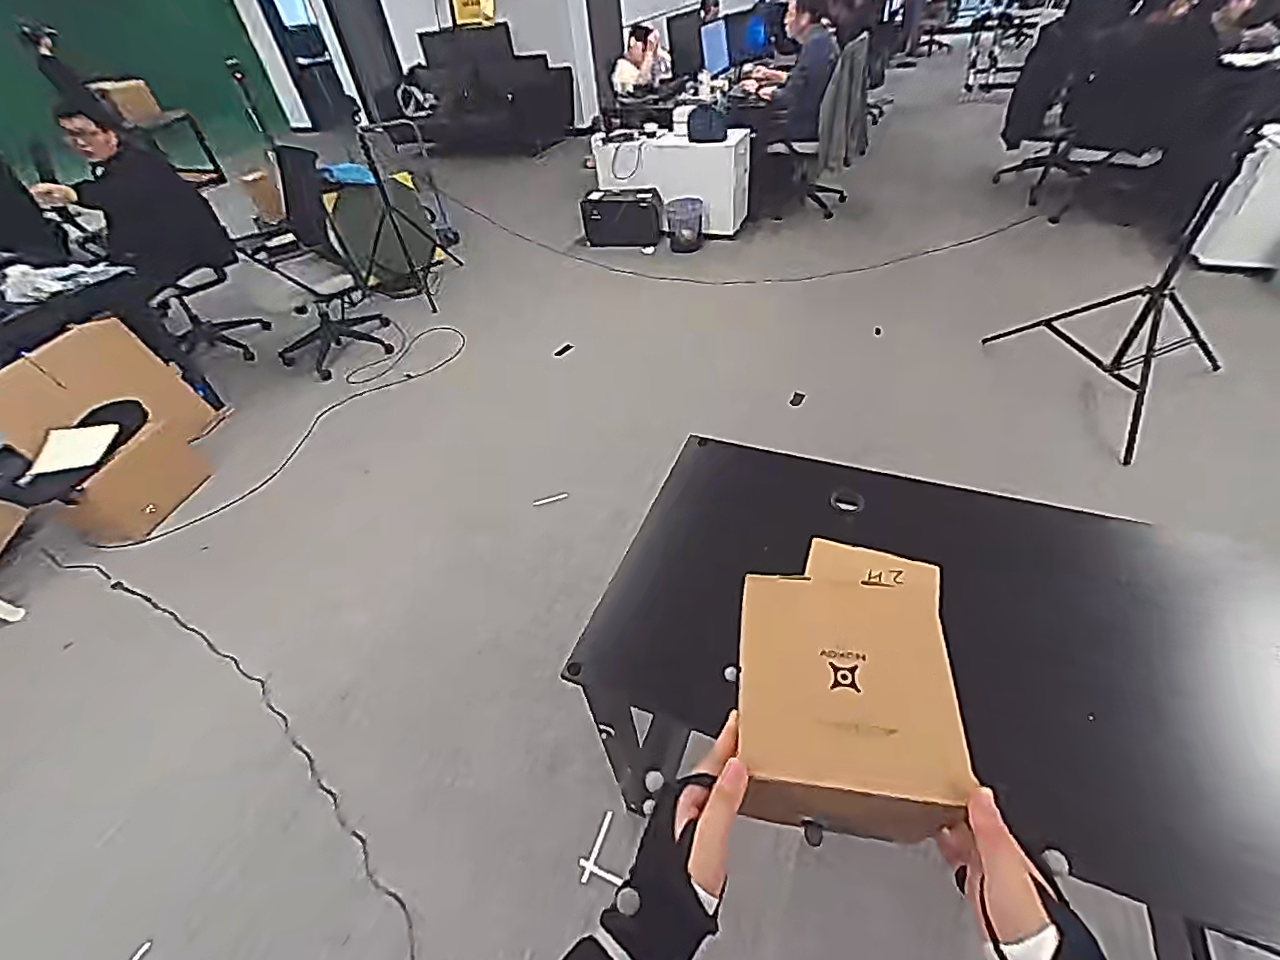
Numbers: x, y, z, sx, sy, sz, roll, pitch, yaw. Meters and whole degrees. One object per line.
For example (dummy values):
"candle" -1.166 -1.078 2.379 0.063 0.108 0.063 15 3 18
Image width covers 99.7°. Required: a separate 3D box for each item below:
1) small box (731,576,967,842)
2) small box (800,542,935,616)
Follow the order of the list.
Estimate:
"small box" 0.174 0.213 0.508 0.168 0.176 0.179 2 49 11
"small box" 0.296 0.220 0.754 0.168 0.176 0.179 13 47 19
